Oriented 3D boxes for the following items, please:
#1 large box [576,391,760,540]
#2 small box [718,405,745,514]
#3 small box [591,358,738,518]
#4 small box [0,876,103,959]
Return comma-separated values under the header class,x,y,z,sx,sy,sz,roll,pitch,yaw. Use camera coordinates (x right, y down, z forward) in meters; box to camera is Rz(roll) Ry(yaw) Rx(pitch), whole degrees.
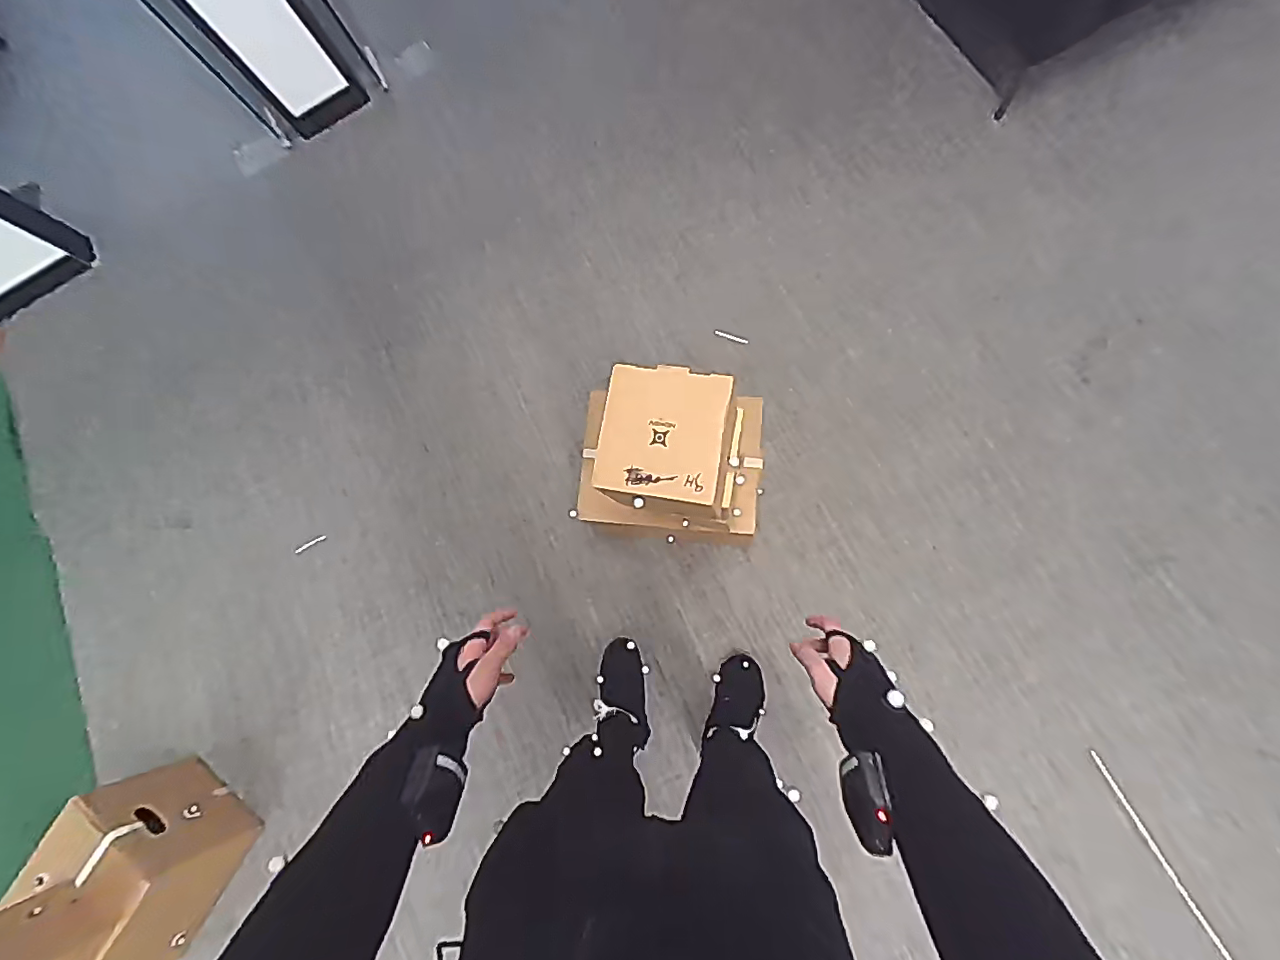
class,x,y,z,sx,sy,sz,roll,pitch,yaw
large box,0.090,-0.024,1.353,0.408,0.320,0.320,4,79,11
small box,0.083,-0.037,0.936,0.179,0.176,0.168,8,82,12
small box,0.045,-0.053,0.776,0.168,0.176,0.179,9,81,13
small box,-1.294,0.990,1.131,0.168,0.176,0.179,31,86,13
